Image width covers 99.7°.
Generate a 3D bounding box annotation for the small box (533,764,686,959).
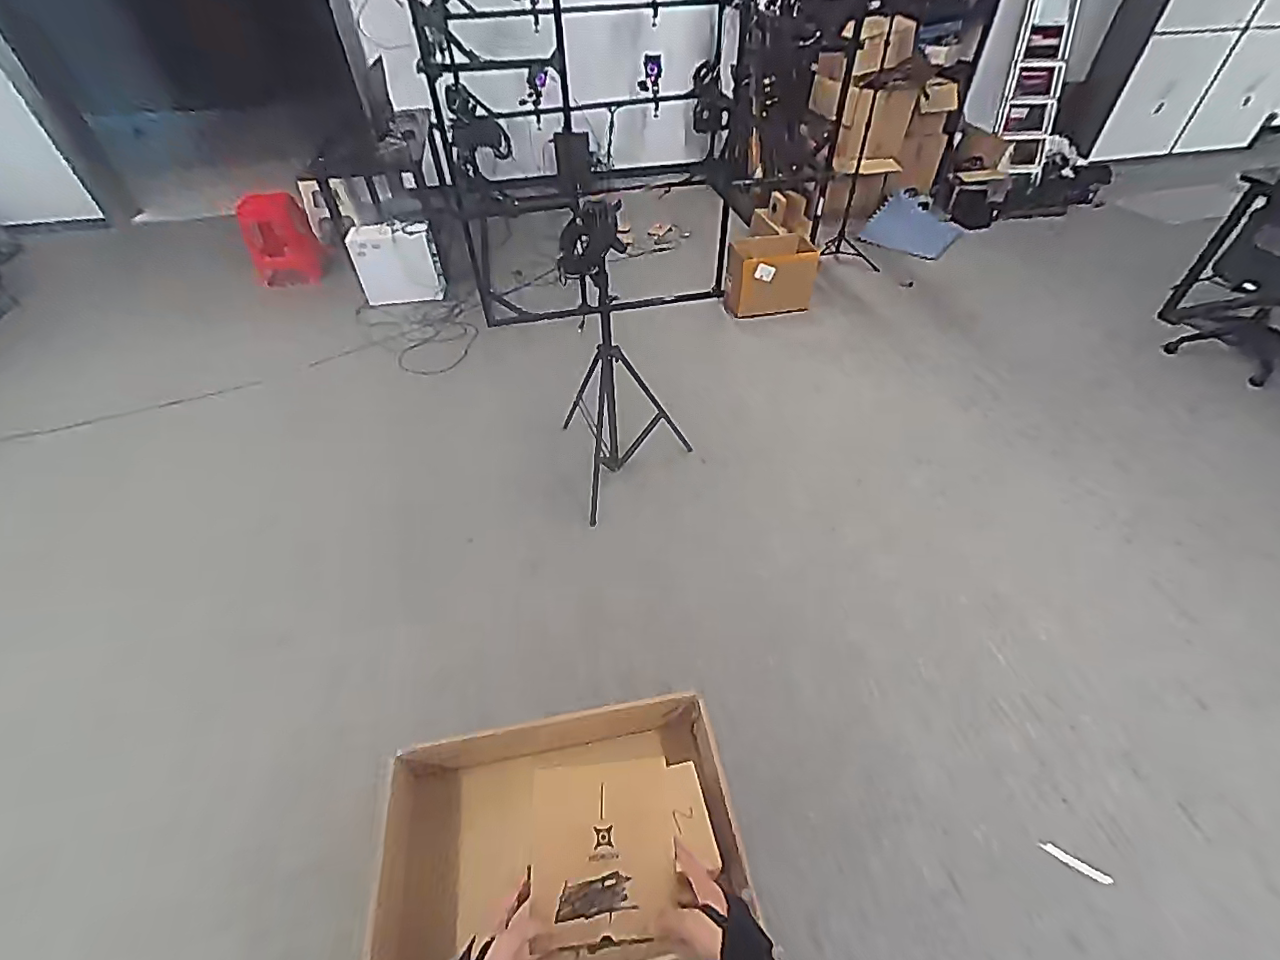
[{"bbox_3d":[-0.034,0.476,0.676,0.168,0.176,0.179,-5,50,-2],"label":"small box"}]
